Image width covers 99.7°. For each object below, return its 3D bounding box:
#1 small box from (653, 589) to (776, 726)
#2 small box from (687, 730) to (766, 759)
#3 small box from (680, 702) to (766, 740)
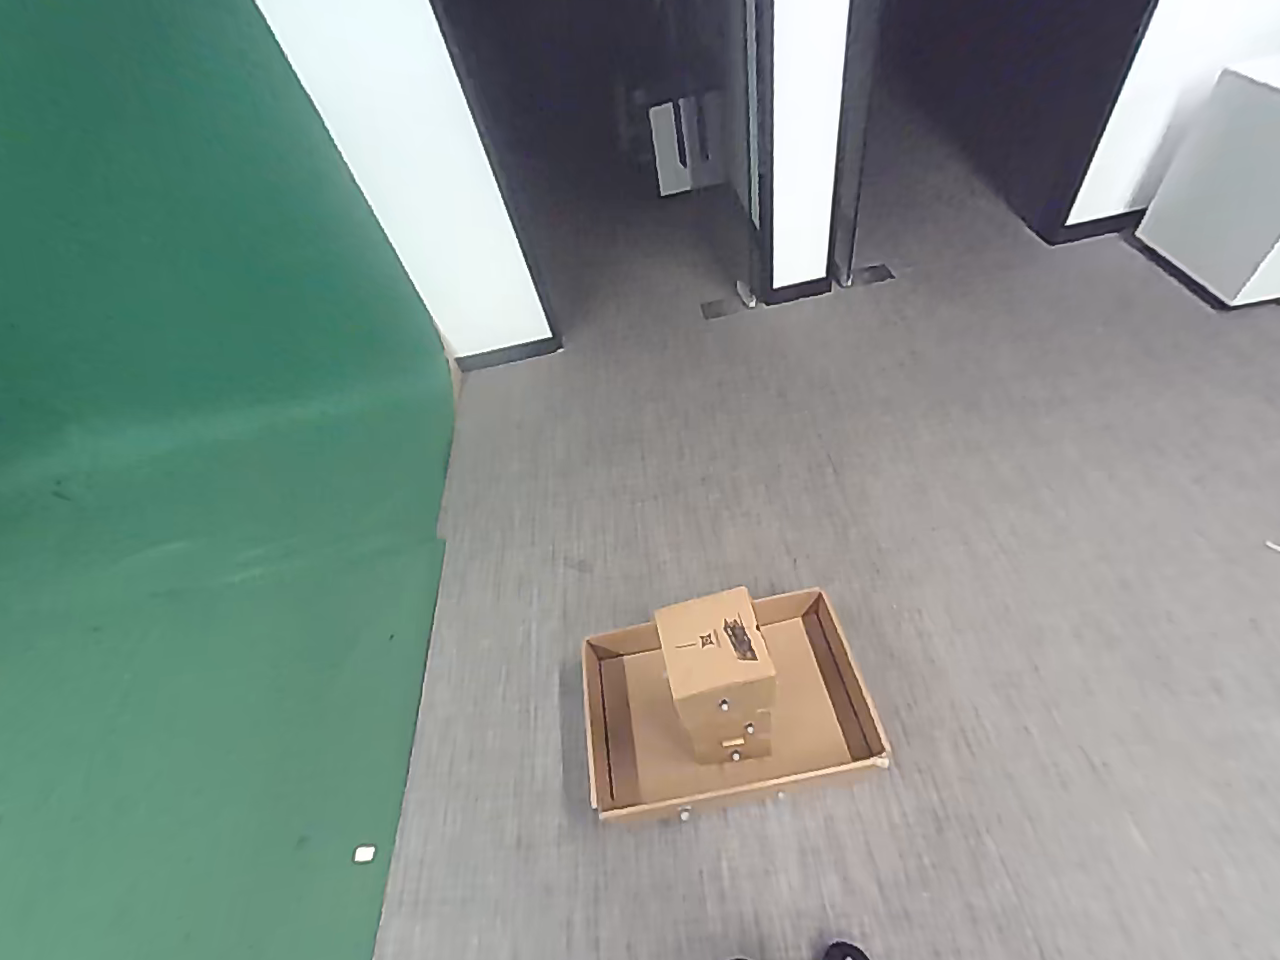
[{"bbox_3d":[0.135,0.329,0.994,0.179,0.176,0.168,-16,50,-1],"label":"small box"},{"bbox_3d":[0.192,0.529,1.245,0.168,0.176,0.179,-11,50,5],"label":"small box"},{"bbox_3d":[0.162,0.426,1.124,0.168,0.176,0.179,-11,48,4],"label":"small box"}]
